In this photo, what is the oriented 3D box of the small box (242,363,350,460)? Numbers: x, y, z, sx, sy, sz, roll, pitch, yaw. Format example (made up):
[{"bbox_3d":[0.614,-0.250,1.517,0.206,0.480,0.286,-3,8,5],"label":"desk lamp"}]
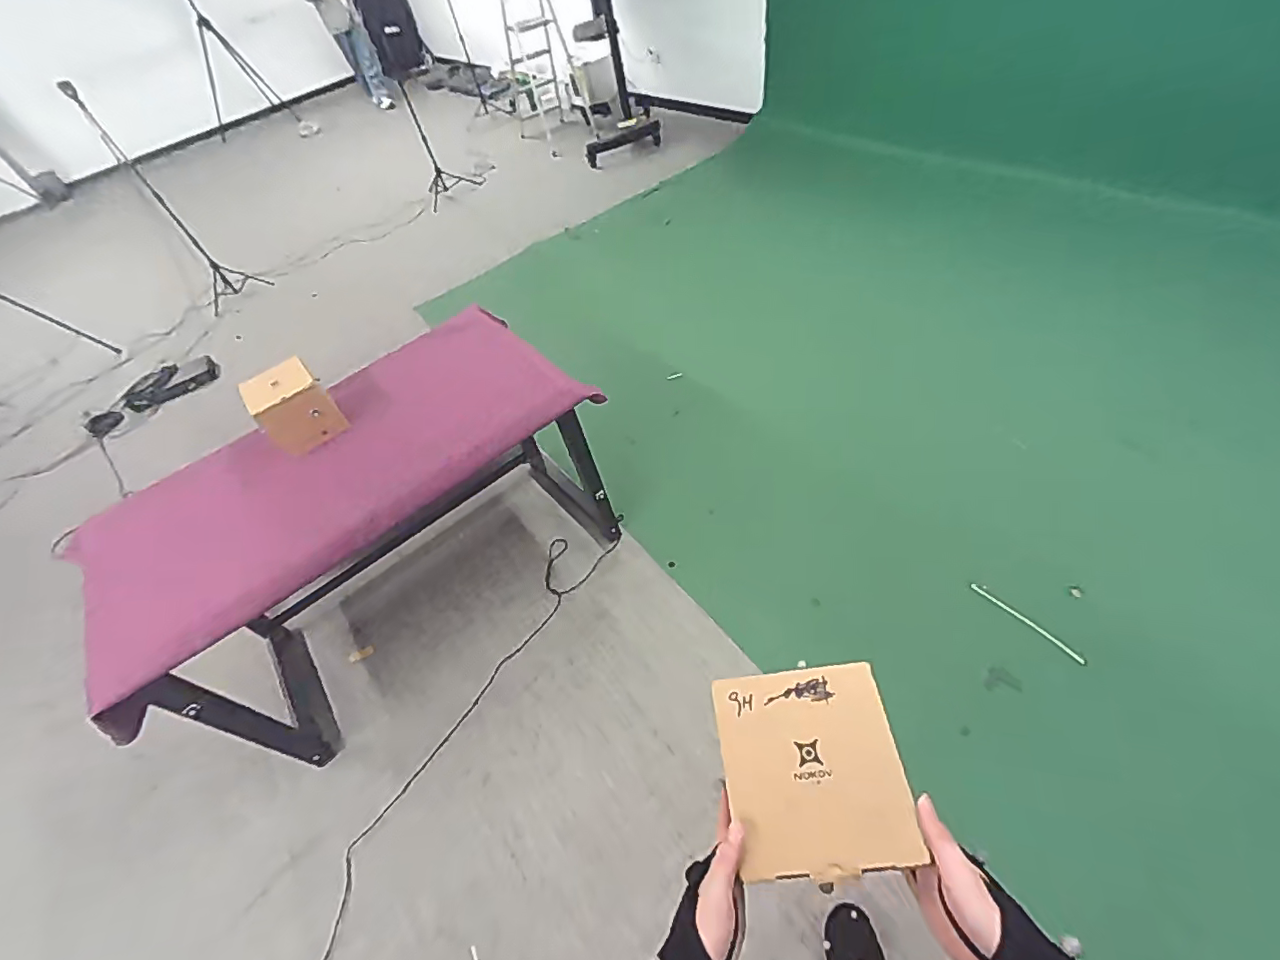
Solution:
[{"bbox_3d":[-0.925,-0.178,1.464,0.168,0.176,0.179,-37,52,-17],"label":"small box"}]

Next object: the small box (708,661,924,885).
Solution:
[{"bbox_3d":[0.172,0.312,0.579,0.168,0.176,0.179,-10,56,5],"label":"small box"}]
